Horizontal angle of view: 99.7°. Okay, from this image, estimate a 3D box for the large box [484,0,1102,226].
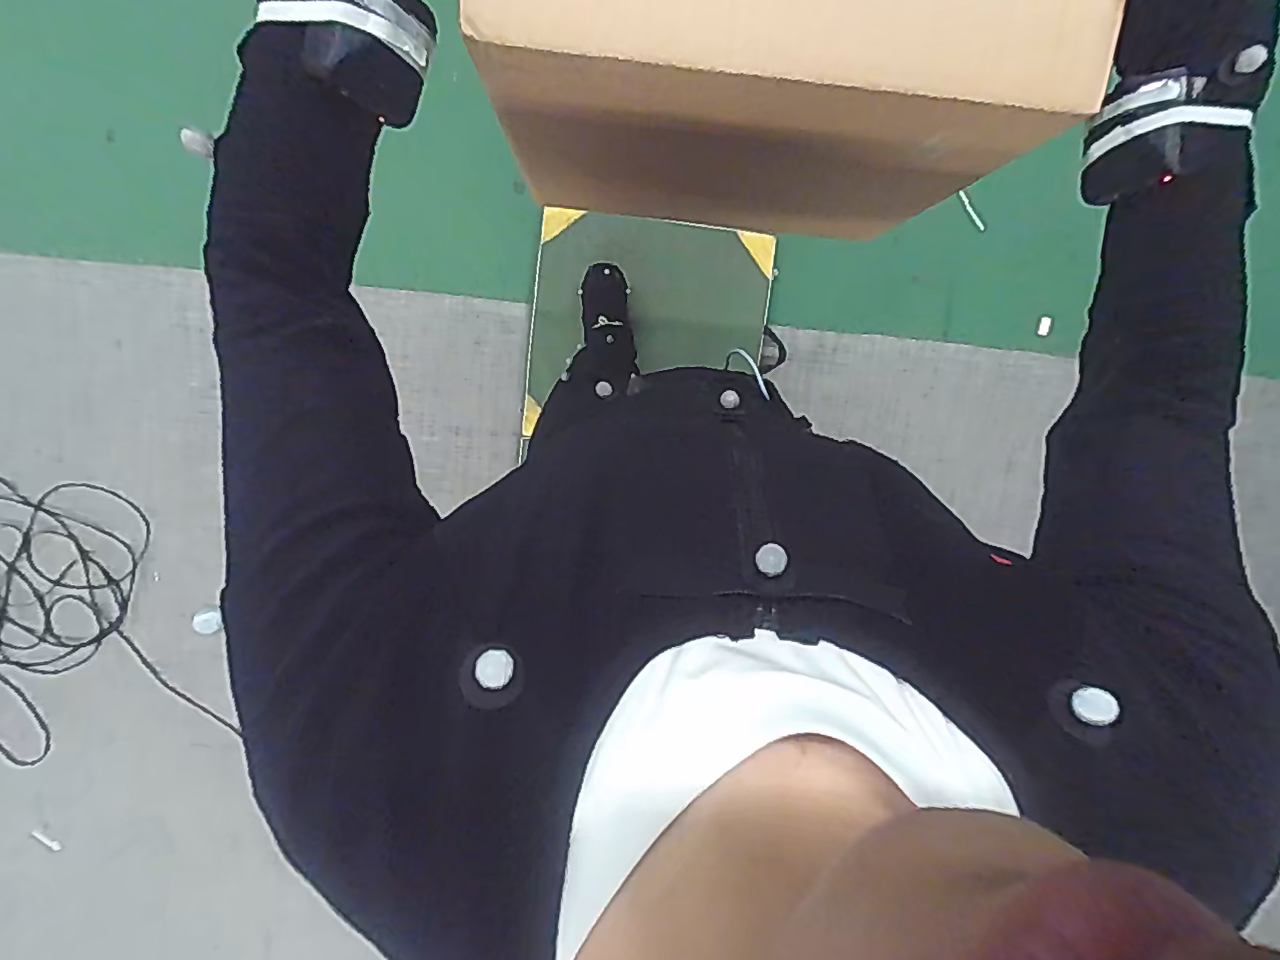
[{"bbox_3d":[0.098,-0.439,0.468,0.408,0.320,0.320,4,100,-5],"label":"large box"}]
